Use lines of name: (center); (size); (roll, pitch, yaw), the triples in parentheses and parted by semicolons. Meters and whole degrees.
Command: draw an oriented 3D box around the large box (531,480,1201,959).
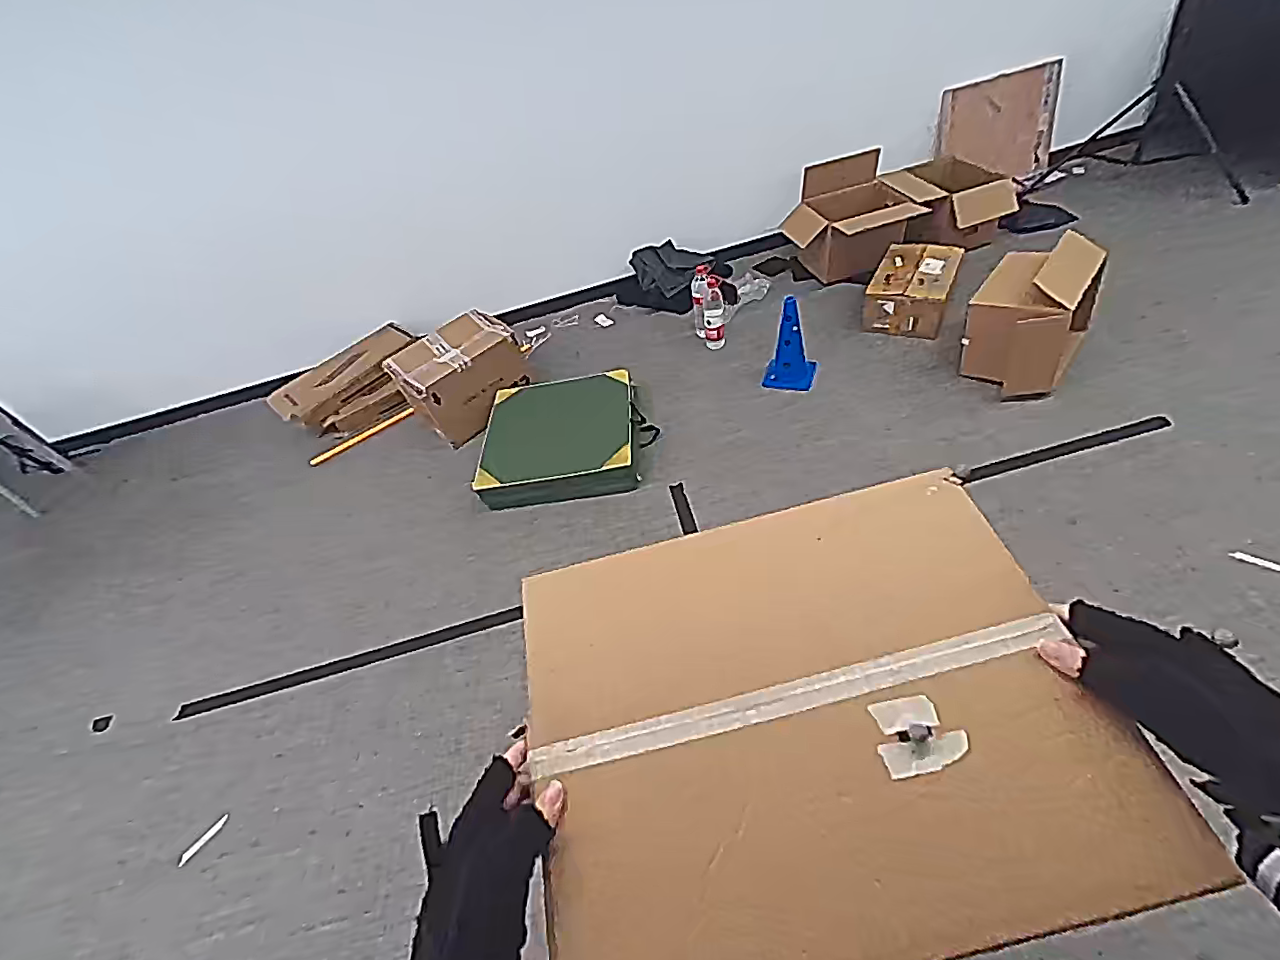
large box: (0.142, 0.257, 0.532); (0.408, 0.320, 0.320); (-15, 53, 0)
